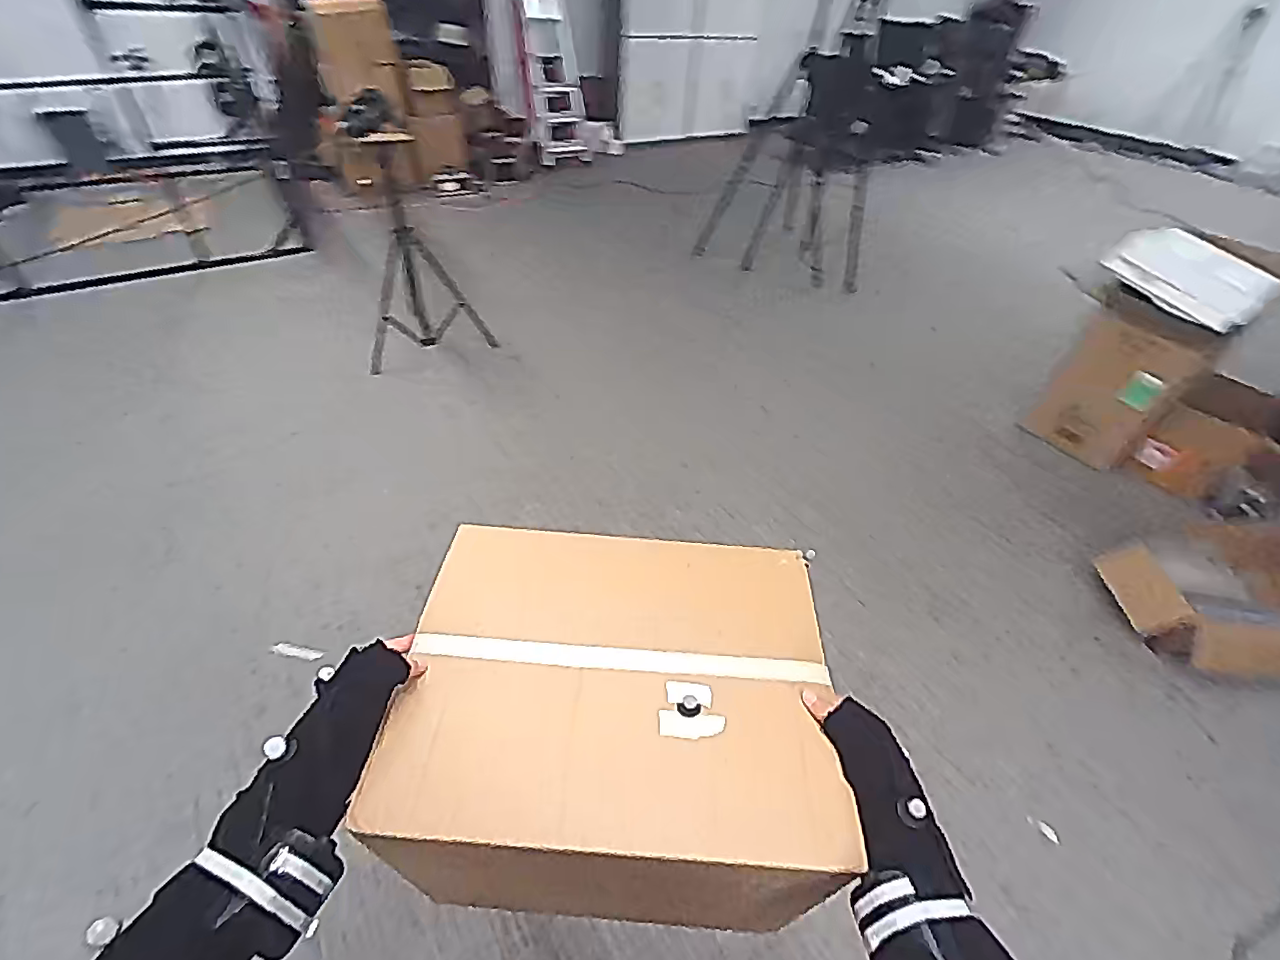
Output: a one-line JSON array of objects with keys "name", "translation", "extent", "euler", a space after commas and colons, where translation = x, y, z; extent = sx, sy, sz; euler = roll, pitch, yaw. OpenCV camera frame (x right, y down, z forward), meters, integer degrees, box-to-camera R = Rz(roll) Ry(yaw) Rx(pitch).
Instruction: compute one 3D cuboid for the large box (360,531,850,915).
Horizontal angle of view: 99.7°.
[{"name": "large box", "translation": [-0.032, 0.285, 0.639], "extent": [0.408, 0.320, 0.320], "euler": [5, 44, 0]}]
